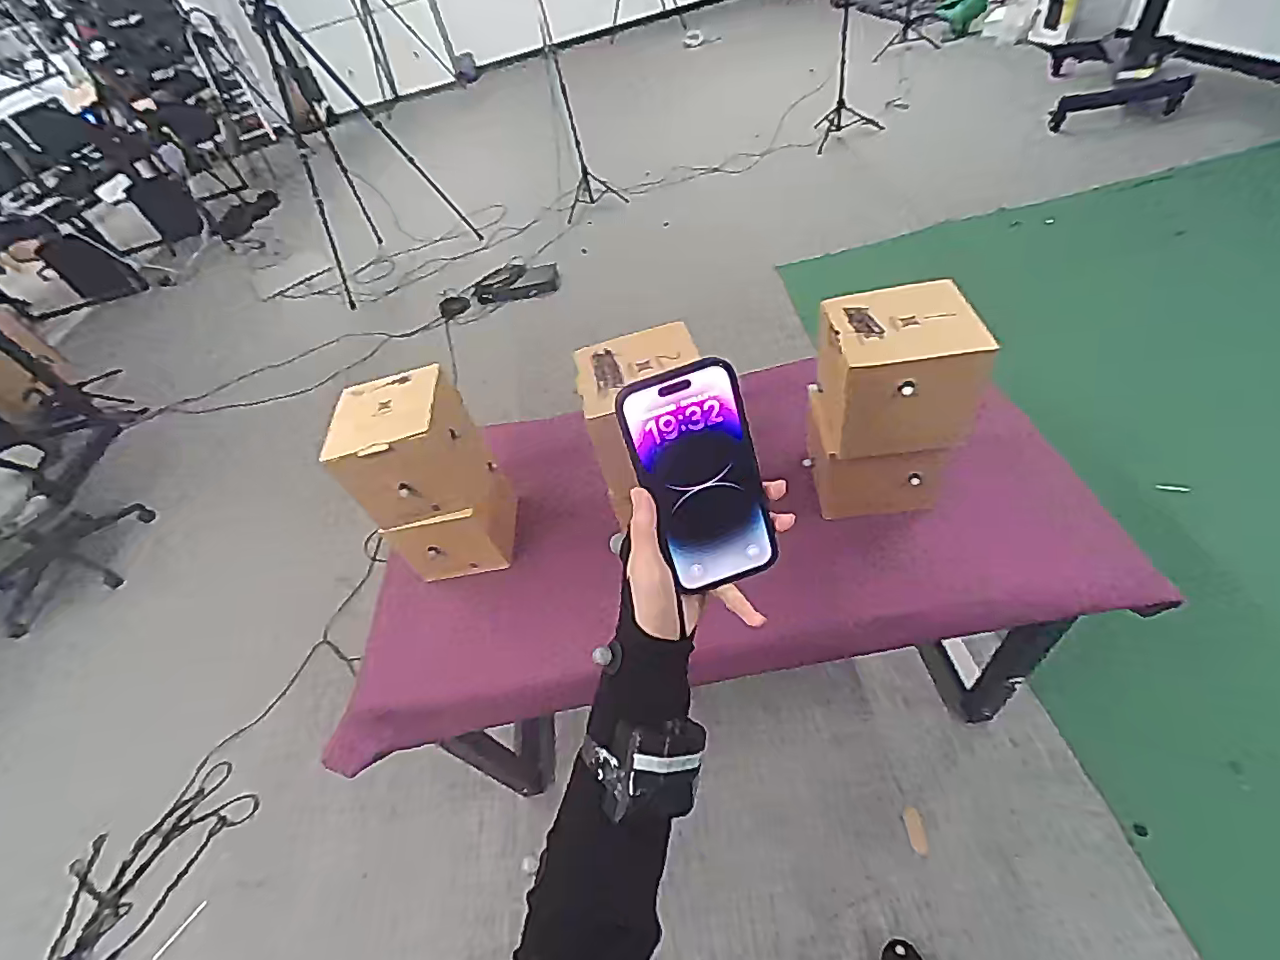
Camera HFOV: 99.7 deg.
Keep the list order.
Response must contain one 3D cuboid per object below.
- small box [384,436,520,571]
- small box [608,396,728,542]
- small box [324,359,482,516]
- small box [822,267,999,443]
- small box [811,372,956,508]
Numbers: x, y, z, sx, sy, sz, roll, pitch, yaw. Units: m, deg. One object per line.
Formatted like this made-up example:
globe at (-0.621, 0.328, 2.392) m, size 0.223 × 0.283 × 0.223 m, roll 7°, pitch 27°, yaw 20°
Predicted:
small box at (-0.330, 0.051, 0.990) m, size 0.168 × 0.176 × 0.179 m, roll -11°, pitch 48°, yaw 6°
small box at (0.051, -0.014, 0.934) m, size 0.179 × 0.176 × 0.168 m, roll -12°, pitch 48°, yaw 6°
small box at (-0.366, -0.061, 0.874) m, size 0.168 × 0.176 × 0.179 m, roll -15°, pitch 48°, yaw 2°
small box at (0.358, -0.168, 0.758) m, size 0.179 × 0.176 × 0.168 m, roll -7°, pitch 48°, yaw 10°
small box at (0.384, -0.072, 0.889) m, size 0.179 × 0.176 × 0.168 m, roll -8°, pitch 48°, yaw 11°
